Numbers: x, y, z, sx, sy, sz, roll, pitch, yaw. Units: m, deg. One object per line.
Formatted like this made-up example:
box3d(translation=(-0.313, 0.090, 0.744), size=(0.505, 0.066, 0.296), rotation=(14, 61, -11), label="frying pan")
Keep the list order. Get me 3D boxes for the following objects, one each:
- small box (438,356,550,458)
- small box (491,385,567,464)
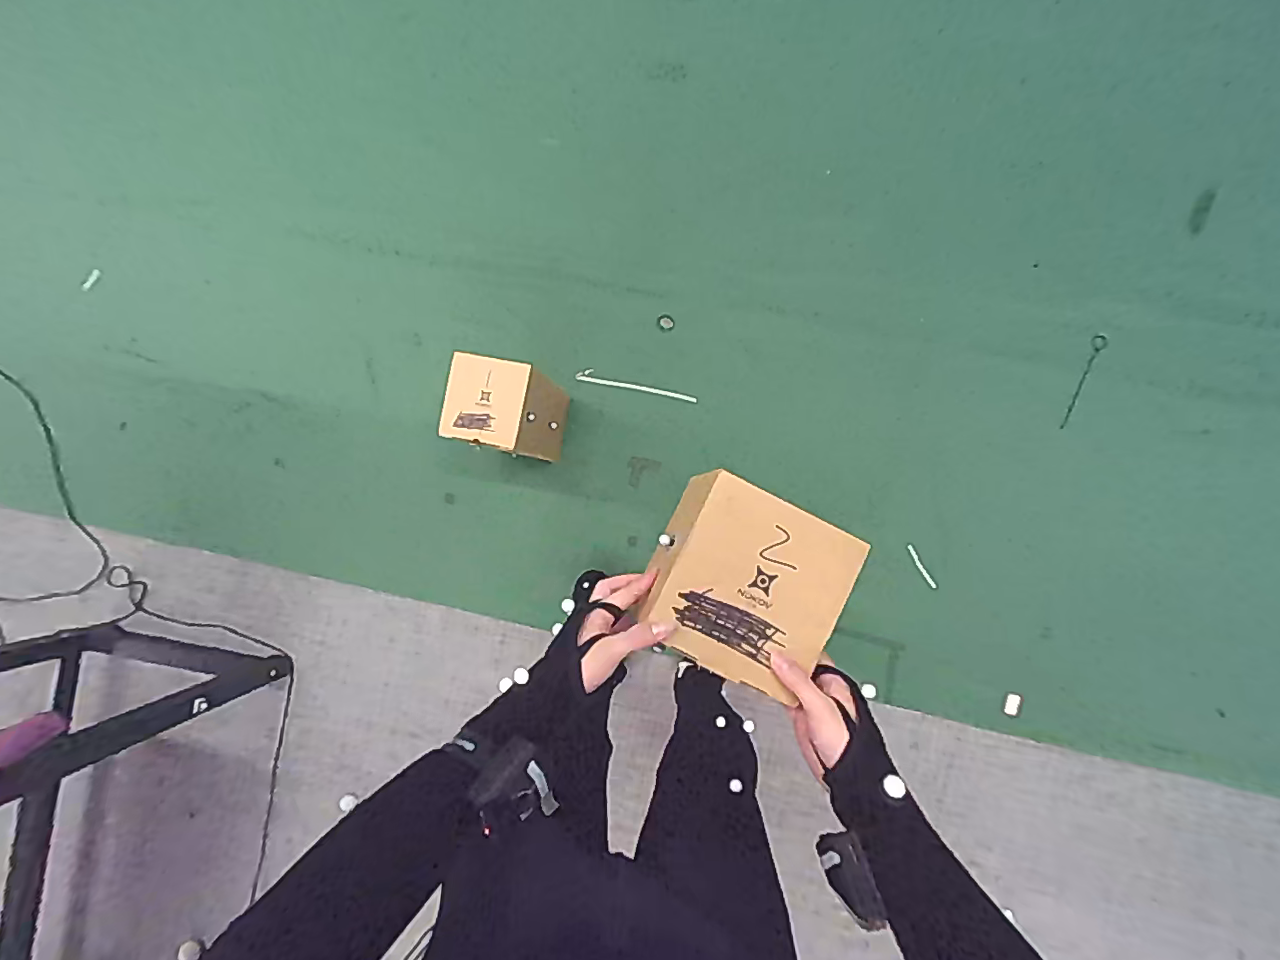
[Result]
box3d(translation=(-0.302, -0.148, 1.158), size=(0.168, 0.176, 0.179), rotation=(11, 89, 6), label="small box")
box3d(translation=(-0.286, -0.142, 1.321), size=(0.168, 0.176, 0.179), rotation=(11, 90, 6), label="small box")
